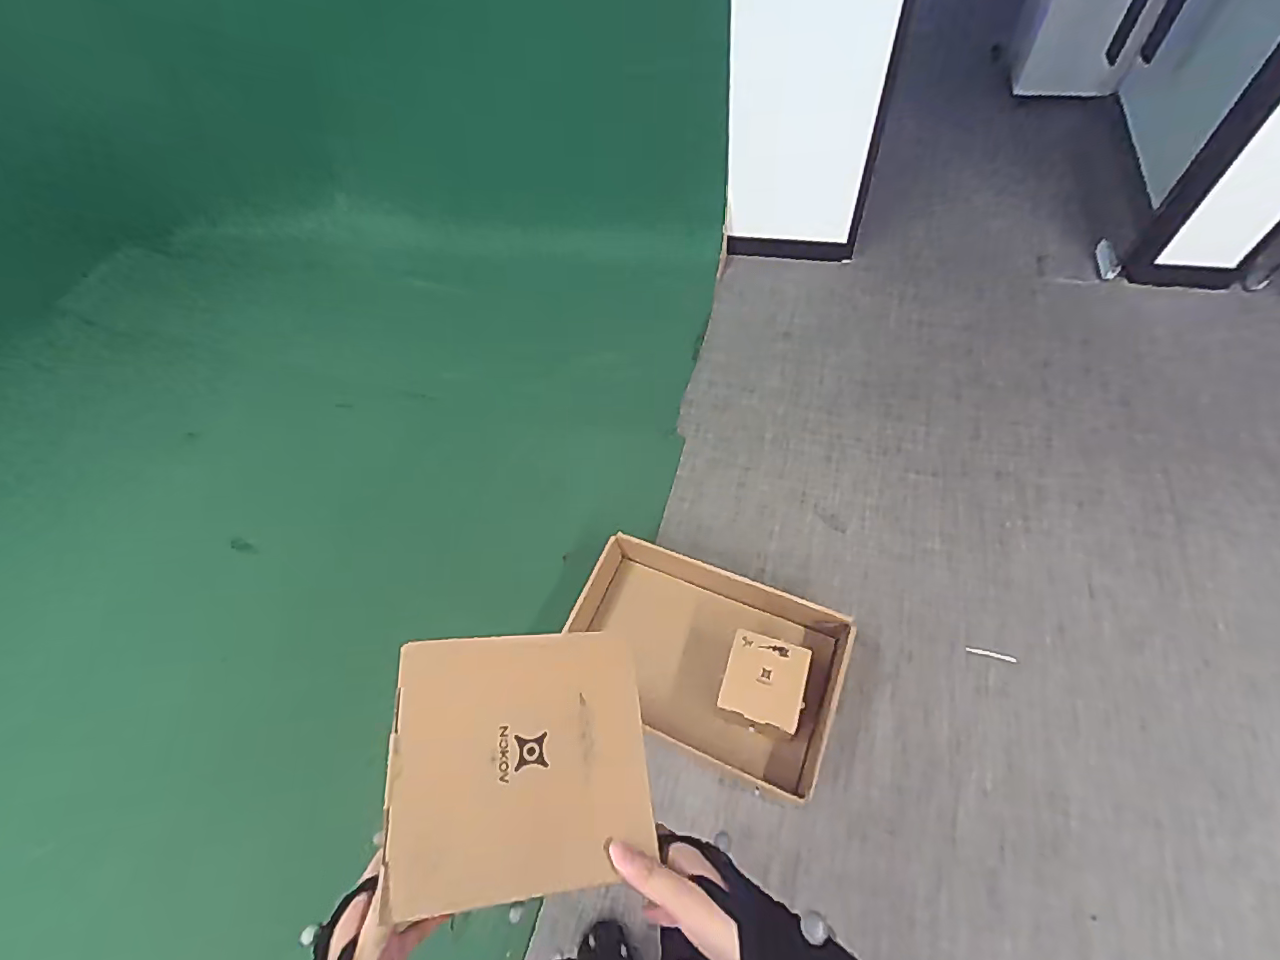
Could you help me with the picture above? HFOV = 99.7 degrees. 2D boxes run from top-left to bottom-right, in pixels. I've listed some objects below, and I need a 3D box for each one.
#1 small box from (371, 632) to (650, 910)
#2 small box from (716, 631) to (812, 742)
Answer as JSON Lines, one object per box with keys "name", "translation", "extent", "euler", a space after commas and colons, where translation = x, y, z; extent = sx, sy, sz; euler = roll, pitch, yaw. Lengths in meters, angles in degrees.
{"name": "small box", "translation": [-0.104, 0.235, 0.446], "extent": [0.179, 0.176, 0.168], "euler": [2, 57, -16]}
{"name": "small box", "translation": [0.275, 0.465, 1.203], "extent": [0.168, 0.176, 0.179], "euler": [14, 62, 16]}
